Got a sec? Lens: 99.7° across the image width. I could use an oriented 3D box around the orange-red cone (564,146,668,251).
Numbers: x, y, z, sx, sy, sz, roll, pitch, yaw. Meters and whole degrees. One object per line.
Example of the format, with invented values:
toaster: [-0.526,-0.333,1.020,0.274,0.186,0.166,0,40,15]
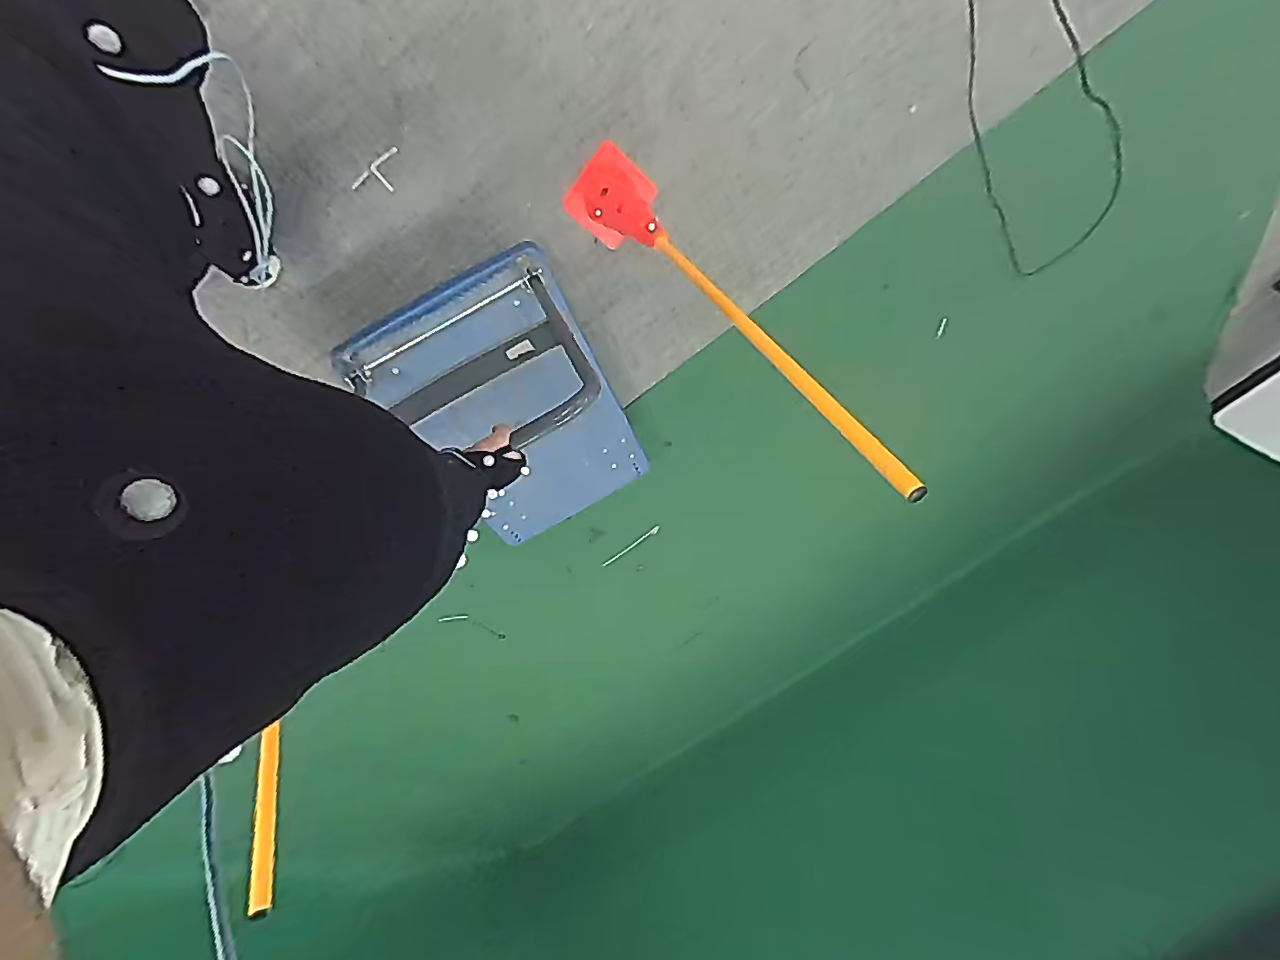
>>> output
orange-red cone: [-0.018,-0.642,1.327,0.198,0.360,0.199,27,113,-42]
